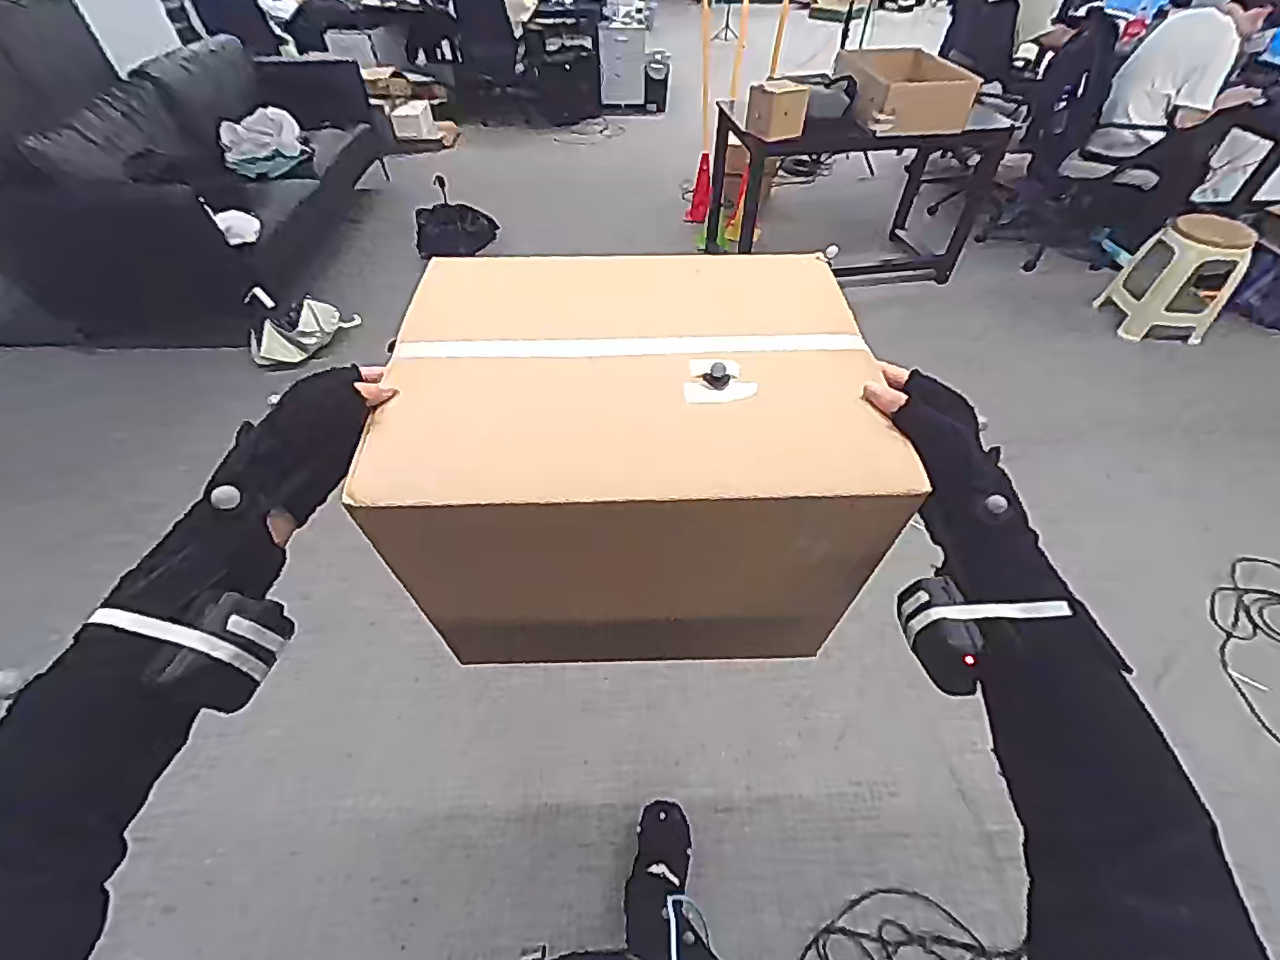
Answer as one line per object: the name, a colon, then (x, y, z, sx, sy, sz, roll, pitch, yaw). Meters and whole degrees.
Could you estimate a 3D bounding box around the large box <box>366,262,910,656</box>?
large box: (-0.007, -0.016, 0.595, 0.408, 0.320, 0.320, -1, 53, -2)
